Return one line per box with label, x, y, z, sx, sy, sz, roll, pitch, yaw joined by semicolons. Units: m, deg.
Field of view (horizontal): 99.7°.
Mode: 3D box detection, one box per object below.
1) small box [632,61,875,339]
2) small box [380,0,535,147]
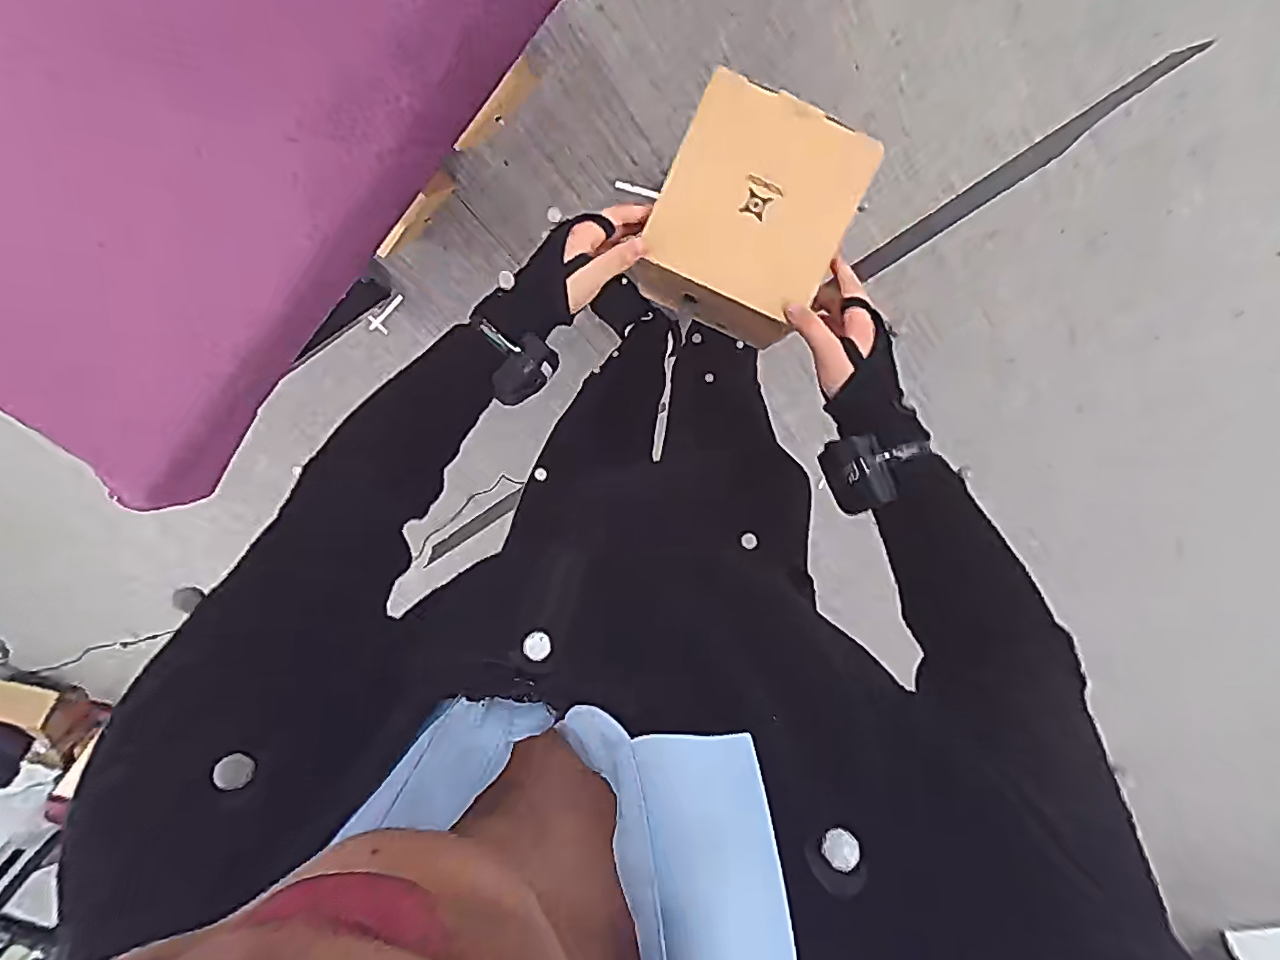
small box;0.104;-0.266;0.564;0.168;0.176;0.179;24;95;0
small box;-0.313;-0.740;0.968;0.168;0.176;0.179;-32;117;24
